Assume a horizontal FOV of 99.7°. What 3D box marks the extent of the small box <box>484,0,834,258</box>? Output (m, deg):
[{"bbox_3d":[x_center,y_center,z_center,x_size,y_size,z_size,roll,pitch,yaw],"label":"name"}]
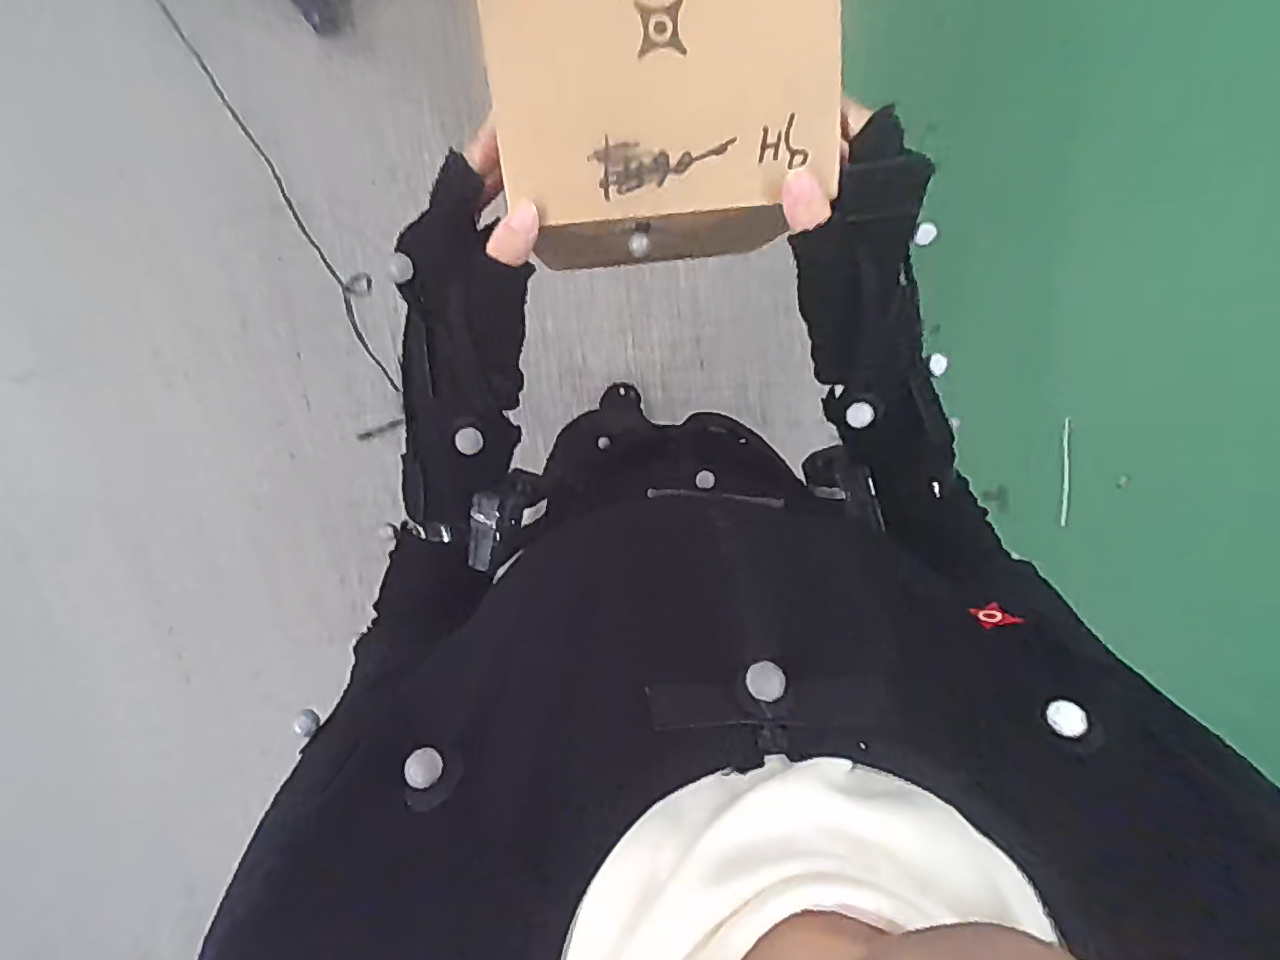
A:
[{"bbox_3d":[0.005,-0.246,0.327,0.168,0.176,0.179,-5,104,-1],"label":"small box"}]
